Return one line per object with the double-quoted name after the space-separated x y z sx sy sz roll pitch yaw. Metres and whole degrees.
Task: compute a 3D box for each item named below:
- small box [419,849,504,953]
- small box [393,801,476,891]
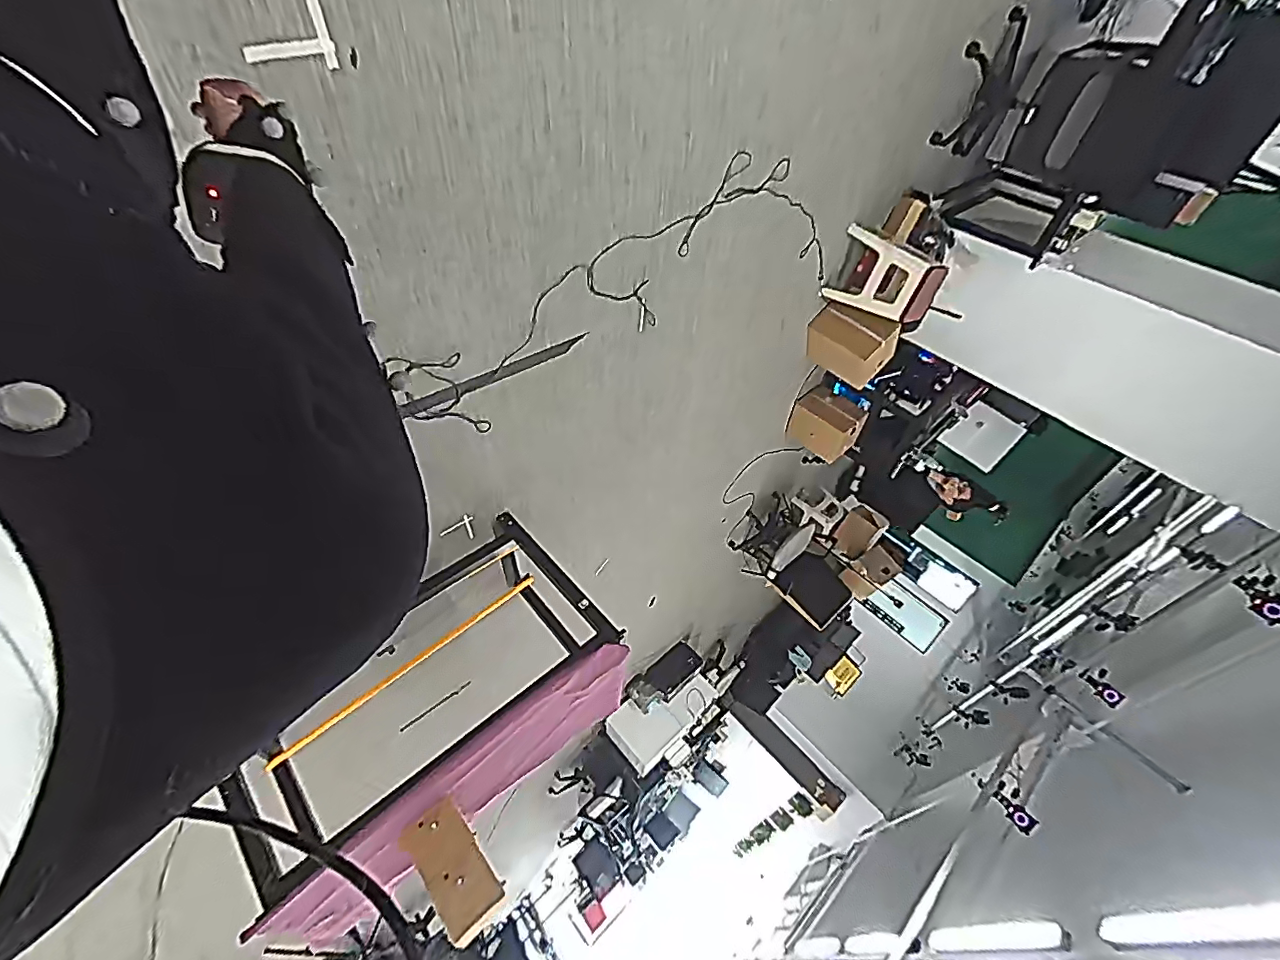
-0.514 1.215 1.566 0.168 0.176 0.179 -32 148 -32 "small box"
-0.622 1.118 1.645 0.168 0.176 0.179 -32 147 -32 "small box"
